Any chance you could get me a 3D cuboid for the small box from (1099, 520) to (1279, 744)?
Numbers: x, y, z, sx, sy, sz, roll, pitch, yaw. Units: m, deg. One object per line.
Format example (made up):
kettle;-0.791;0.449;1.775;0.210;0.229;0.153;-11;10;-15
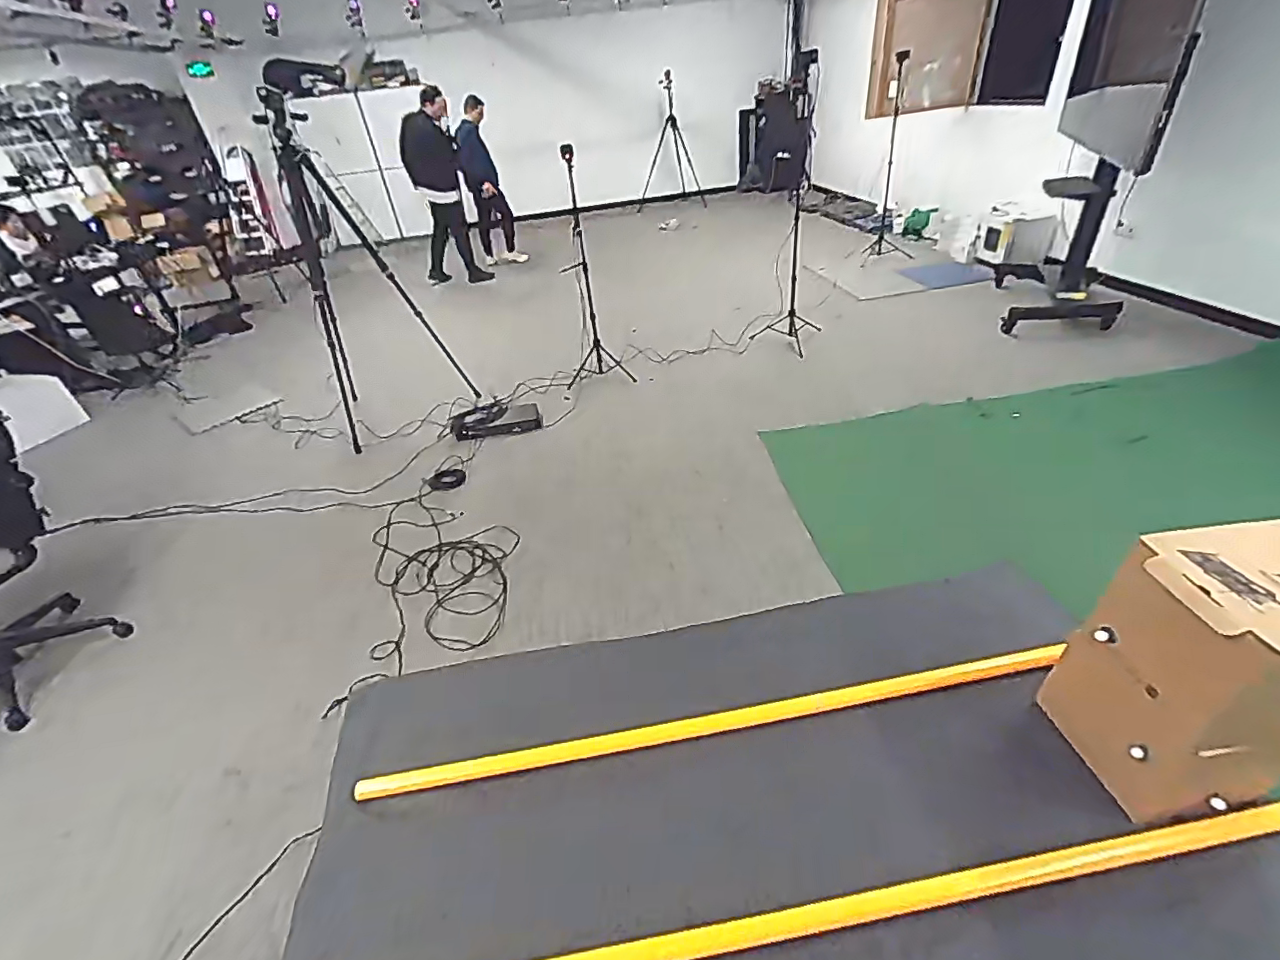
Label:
small box;0.657;0.166;0.591;0.179;0.176;0.168;-6;36;0
